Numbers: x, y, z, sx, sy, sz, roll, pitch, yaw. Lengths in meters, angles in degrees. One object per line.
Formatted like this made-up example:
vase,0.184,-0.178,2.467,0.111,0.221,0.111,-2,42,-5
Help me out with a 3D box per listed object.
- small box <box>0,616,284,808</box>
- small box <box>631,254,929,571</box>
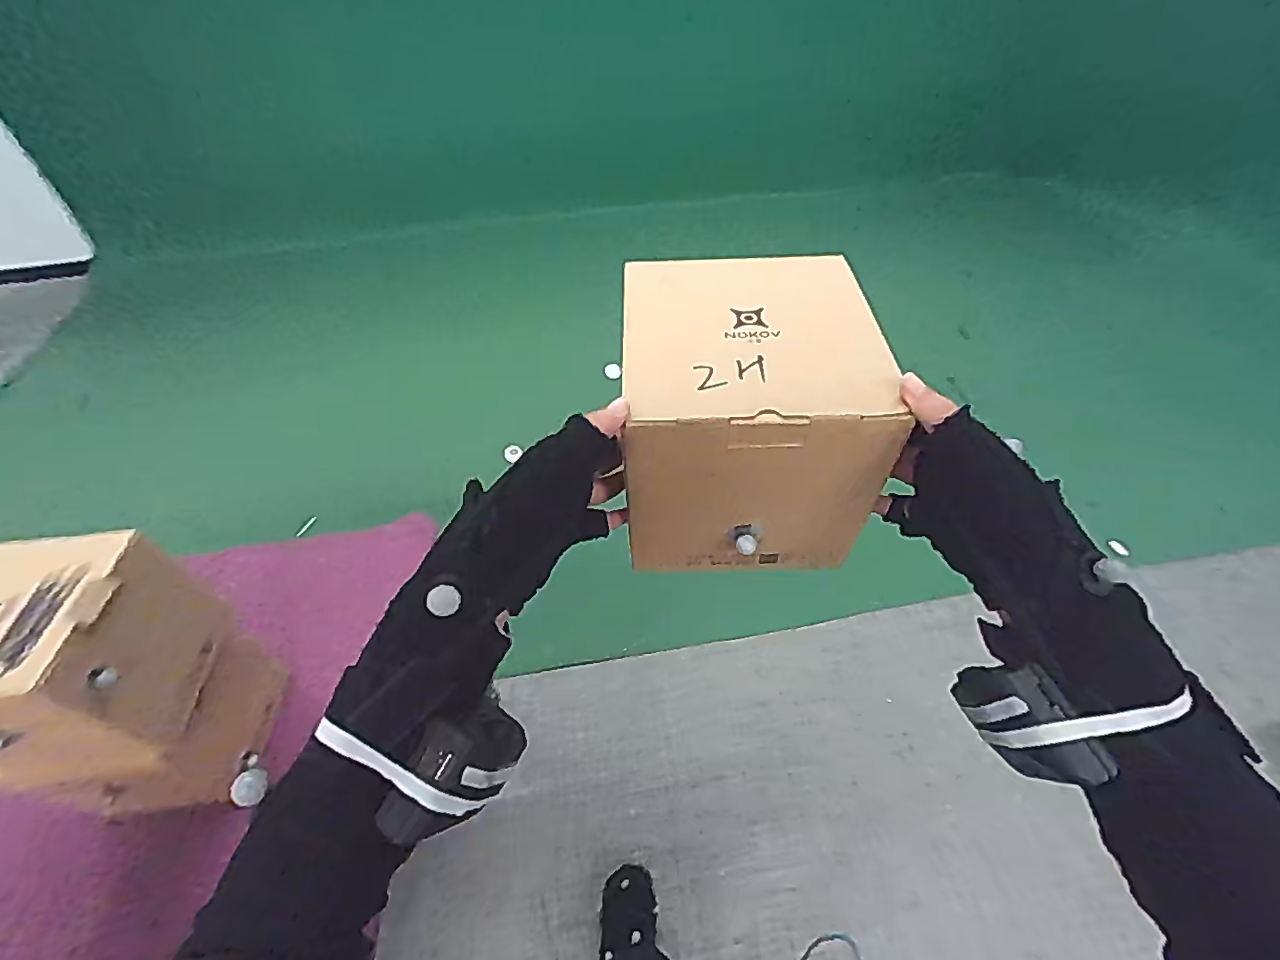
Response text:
small box,-0.584,0.284,0.660,0.179,0.176,0.168,-4,47,-1
small box,0.080,-0.049,0.410,0.168,0.176,0.179,0,51,2
